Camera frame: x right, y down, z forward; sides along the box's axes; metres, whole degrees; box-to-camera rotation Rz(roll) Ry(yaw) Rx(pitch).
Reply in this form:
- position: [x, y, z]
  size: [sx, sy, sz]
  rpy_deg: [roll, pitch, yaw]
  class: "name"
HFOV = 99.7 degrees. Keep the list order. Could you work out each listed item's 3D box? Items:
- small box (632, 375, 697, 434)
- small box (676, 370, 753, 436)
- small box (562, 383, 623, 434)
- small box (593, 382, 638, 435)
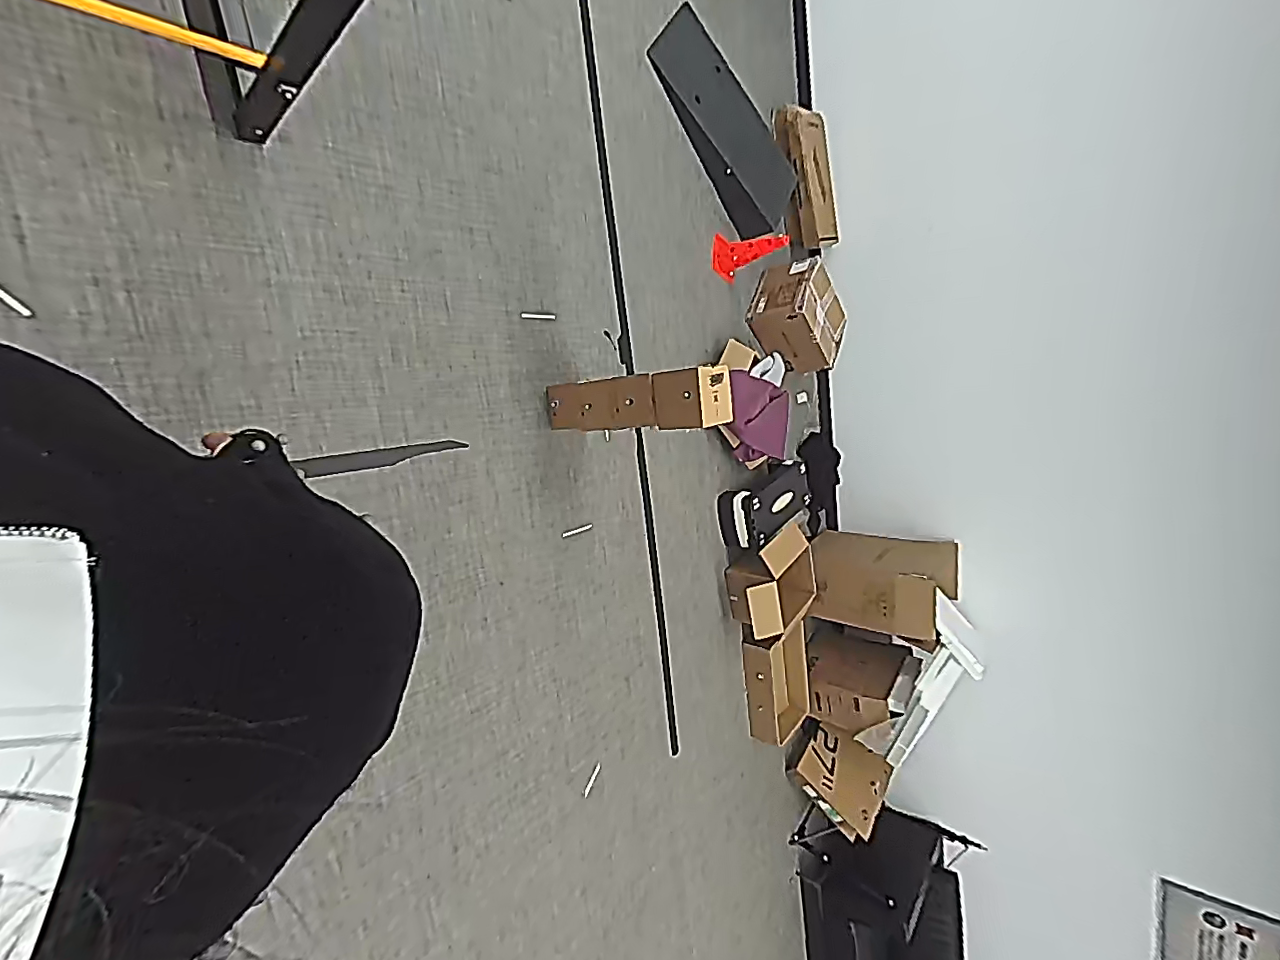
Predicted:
- position: [0.088, -0.239, 1.718]
  size: [0.179, 0.176, 0.168]
  rpy_deg: [-15, 103, -47]
  class: "small box"
- position: [0.221, -0.230, 1.618]
  size: [0.168, 0.176, 0.179]
  rpy_deg: [-18, 105, -48]
  class: "small box"
- position: [-0.155, -0.256, 1.939]
  size: [0.179, 0.176, 0.168]
  rpy_deg: [-17, 103, -46]
  class: "small box"
- position: [-0.034, -0.243, 1.826]
  size: [0.179, 0.176, 0.168]
  rpy_deg: [-16, 103, -48]
  class: "small box"
